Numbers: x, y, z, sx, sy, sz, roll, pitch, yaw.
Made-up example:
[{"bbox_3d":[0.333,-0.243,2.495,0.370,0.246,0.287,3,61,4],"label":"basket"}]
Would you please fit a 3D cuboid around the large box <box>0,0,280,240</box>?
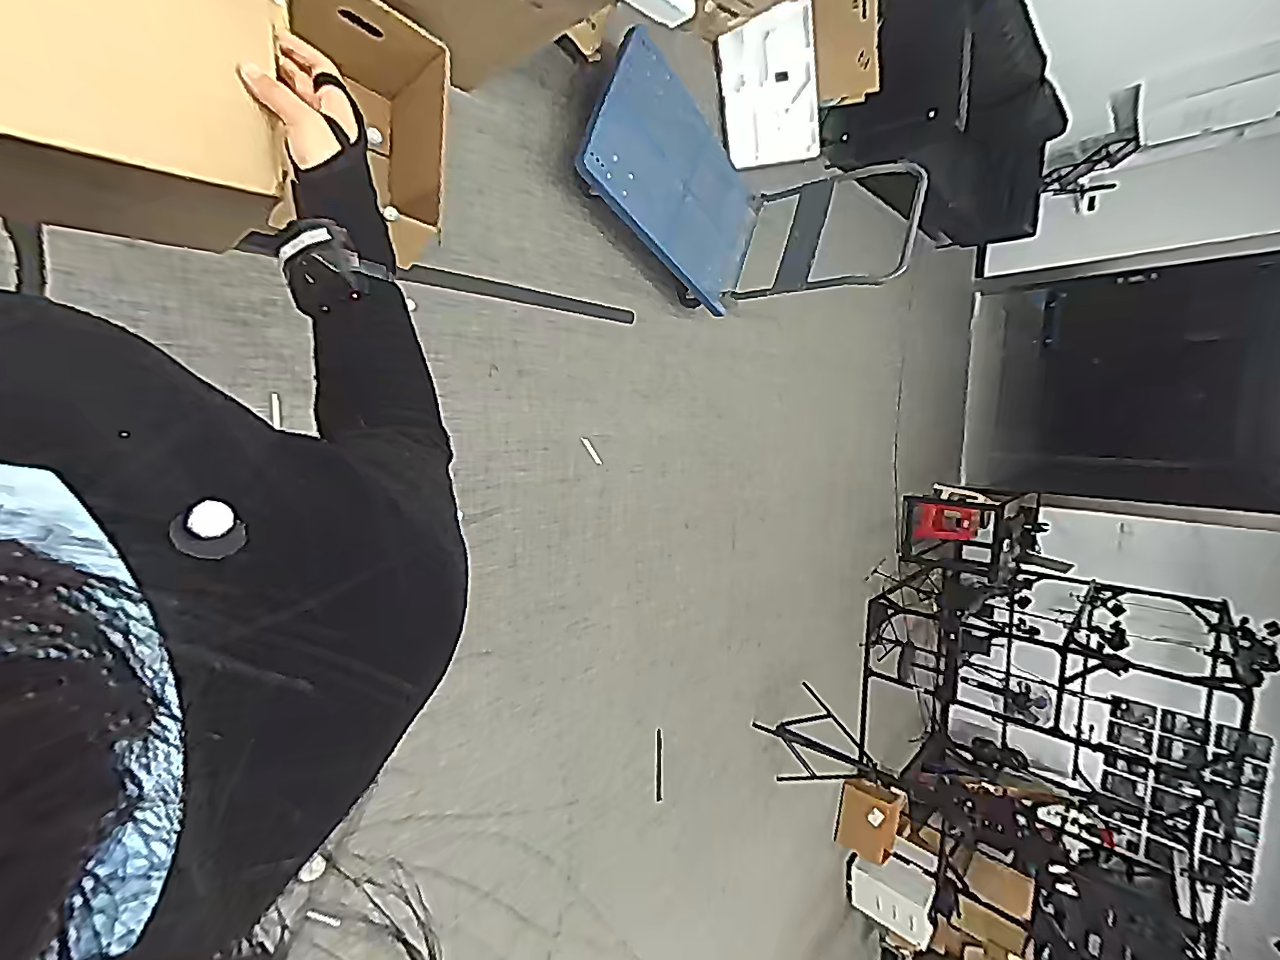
[{"bbox_3d":[-0.545,-0.397,0.403,0.408,0.320,0.320,-7,102,-43],"label":"large box"}]
